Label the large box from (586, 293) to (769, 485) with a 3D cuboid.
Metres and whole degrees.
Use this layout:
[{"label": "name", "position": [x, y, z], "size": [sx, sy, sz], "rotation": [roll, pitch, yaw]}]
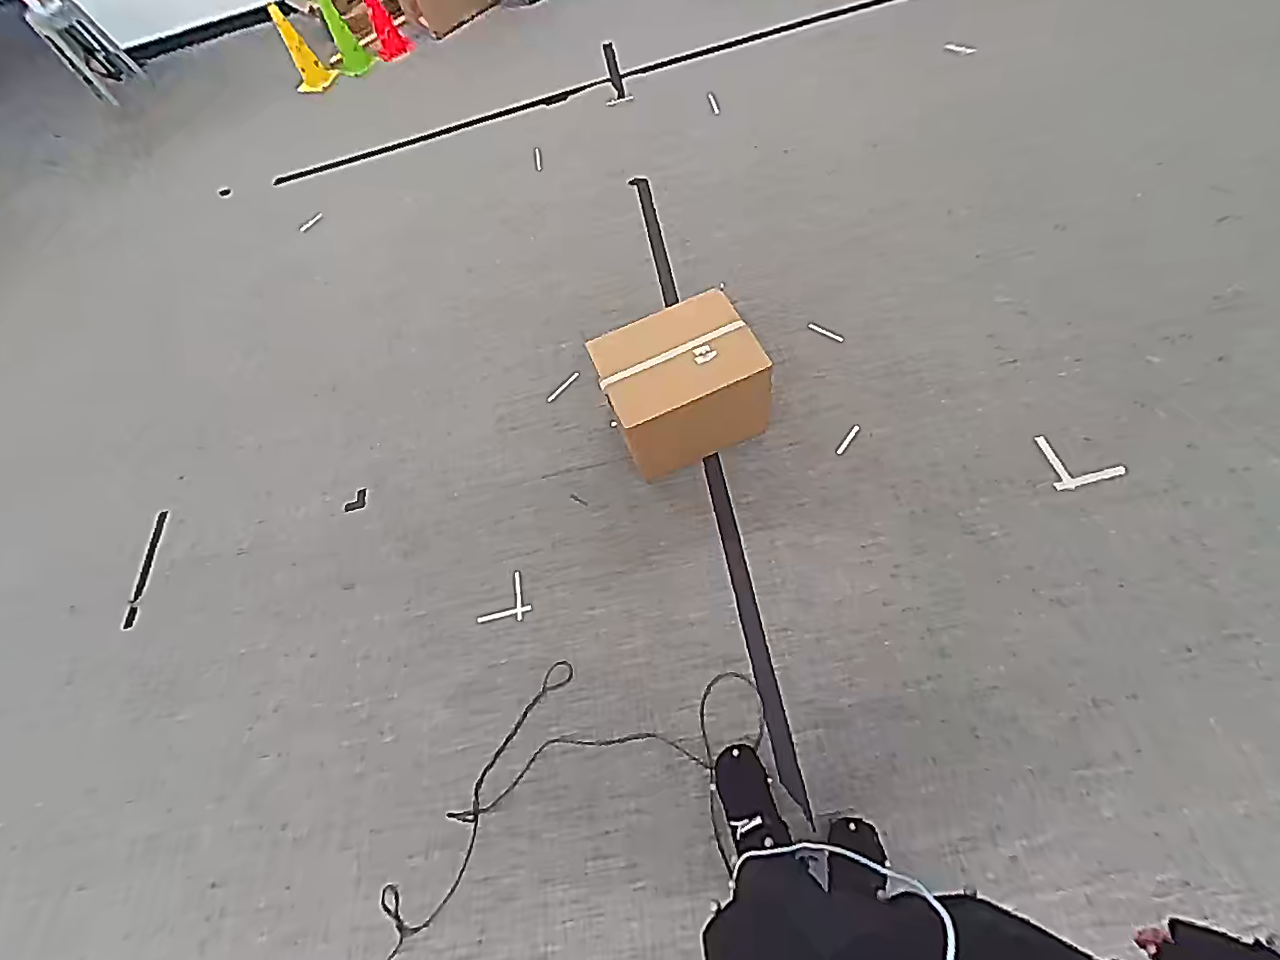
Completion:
[{"label": "large box", "position": [0.109, -0.246, 1.535], "size": [0.408, 0.320, 0.320], "rotation": [-23, 62, -2]}]
